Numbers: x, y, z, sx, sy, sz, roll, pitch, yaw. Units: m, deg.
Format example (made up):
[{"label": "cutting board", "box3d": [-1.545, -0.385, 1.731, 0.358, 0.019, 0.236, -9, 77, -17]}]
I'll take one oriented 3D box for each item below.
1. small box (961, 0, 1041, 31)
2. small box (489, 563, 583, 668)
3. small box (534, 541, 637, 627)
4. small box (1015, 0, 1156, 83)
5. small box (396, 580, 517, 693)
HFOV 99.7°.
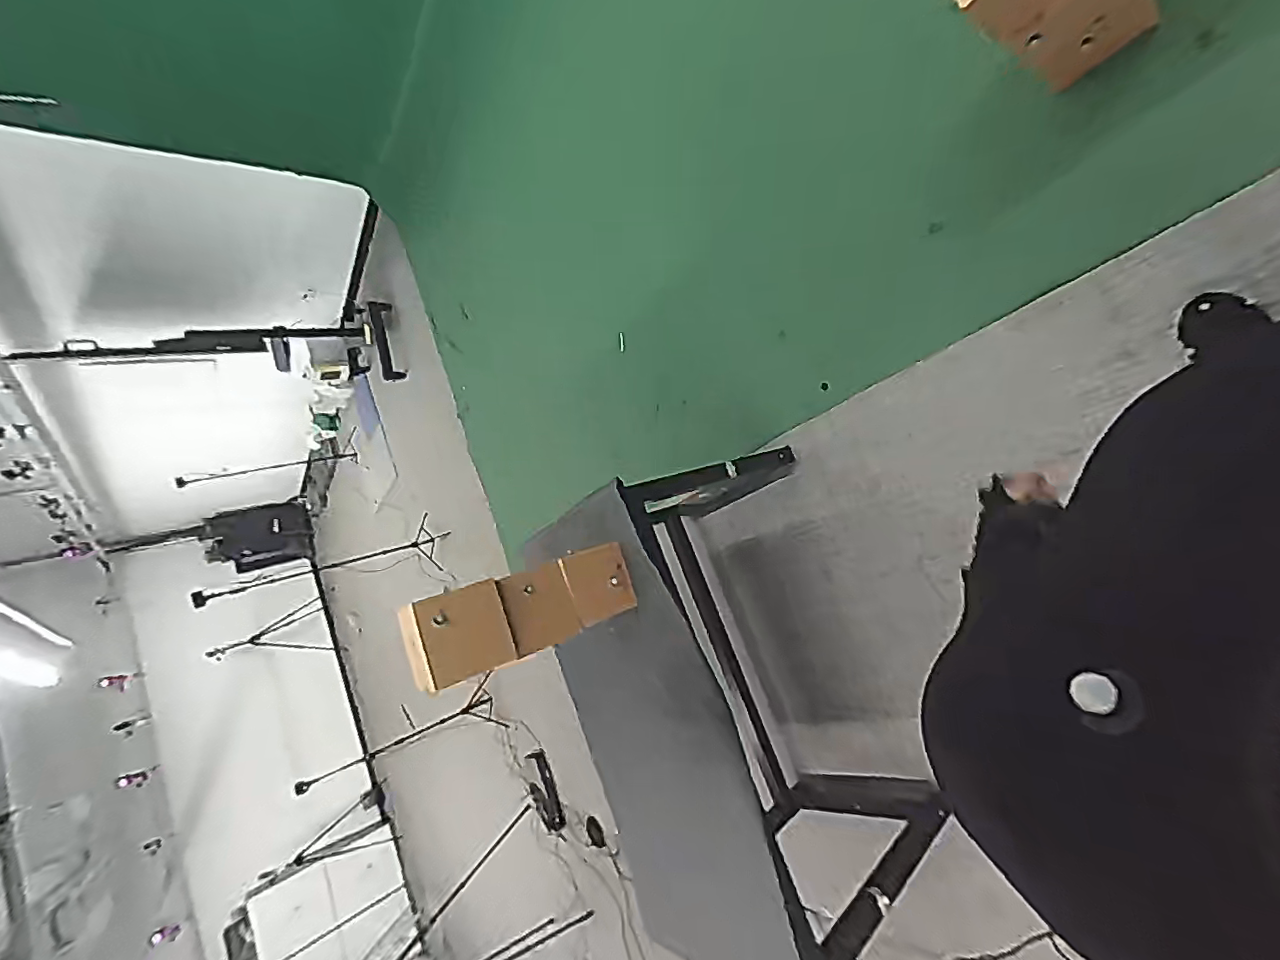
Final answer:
[{"label": "small box", "box3d": [0.575, -0.839, 0.814, 0.179, 0.176, 0.168, -28, 78, 50]}, {"label": "small box", "box3d": [-0.256, 0.300, 1.222, 0.168, 0.176, 0.179, -37, 74, 52]}, {"label": "small box", "box3d": [-0.136, 0.258, 1.322, 0.179, 0.176, 0.168, -24, 83, 51]}, {"label": "small box", "box3d": [0.827, -0.902, 1.015, 0.179, 0.176, 0.168, -27, 81, 50]}, {"label": "small box", "box3d": [-0.376, 0.314, 1.106, 0.168, 0.176, 0.179, -29, 79, 53]}]
